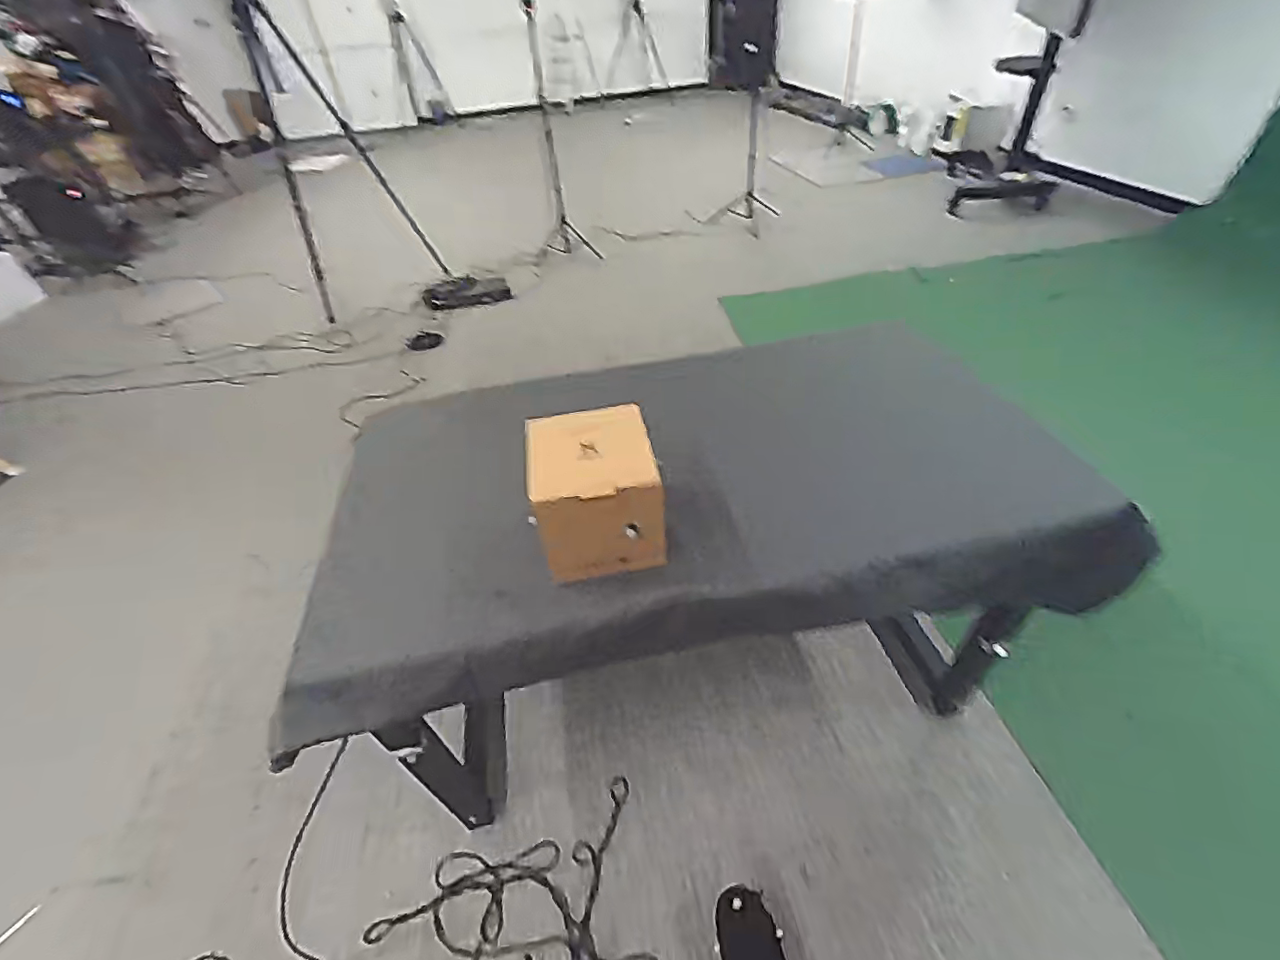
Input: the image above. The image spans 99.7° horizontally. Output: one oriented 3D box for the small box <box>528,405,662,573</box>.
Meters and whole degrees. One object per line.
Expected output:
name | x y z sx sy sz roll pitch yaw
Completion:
small box | -0.064 0.017 0.785 0.168 0.176 0.179 -9 41 -6
